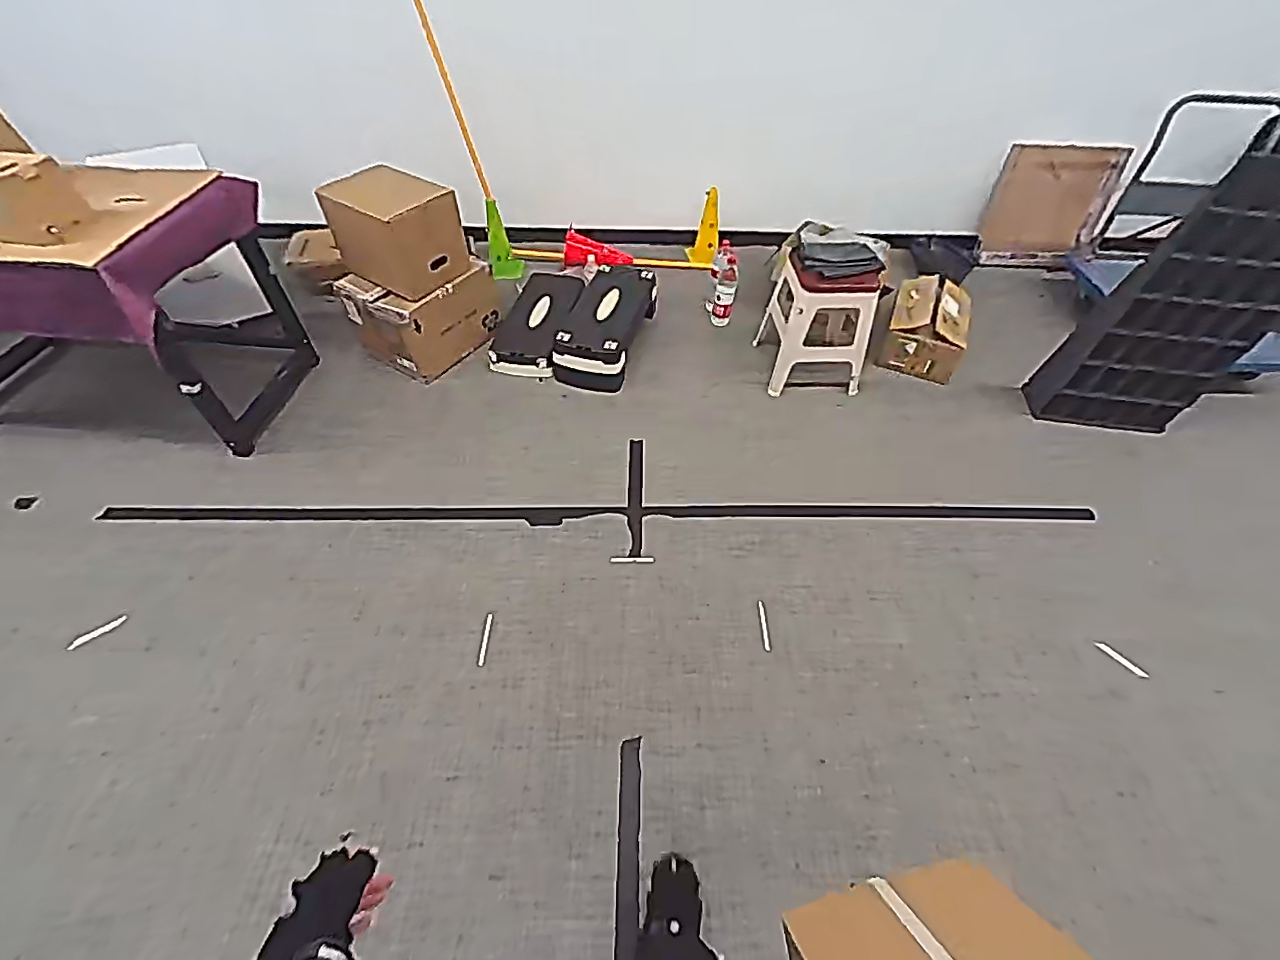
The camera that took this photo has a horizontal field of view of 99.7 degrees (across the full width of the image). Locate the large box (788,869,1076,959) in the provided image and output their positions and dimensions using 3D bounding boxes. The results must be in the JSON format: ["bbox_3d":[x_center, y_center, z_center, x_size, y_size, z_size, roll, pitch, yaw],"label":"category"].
[{"bbox_3d":[0.410,0.754,0.612,0.320,0.408,0.320,-9,88,-8],"label":"large box"}]
